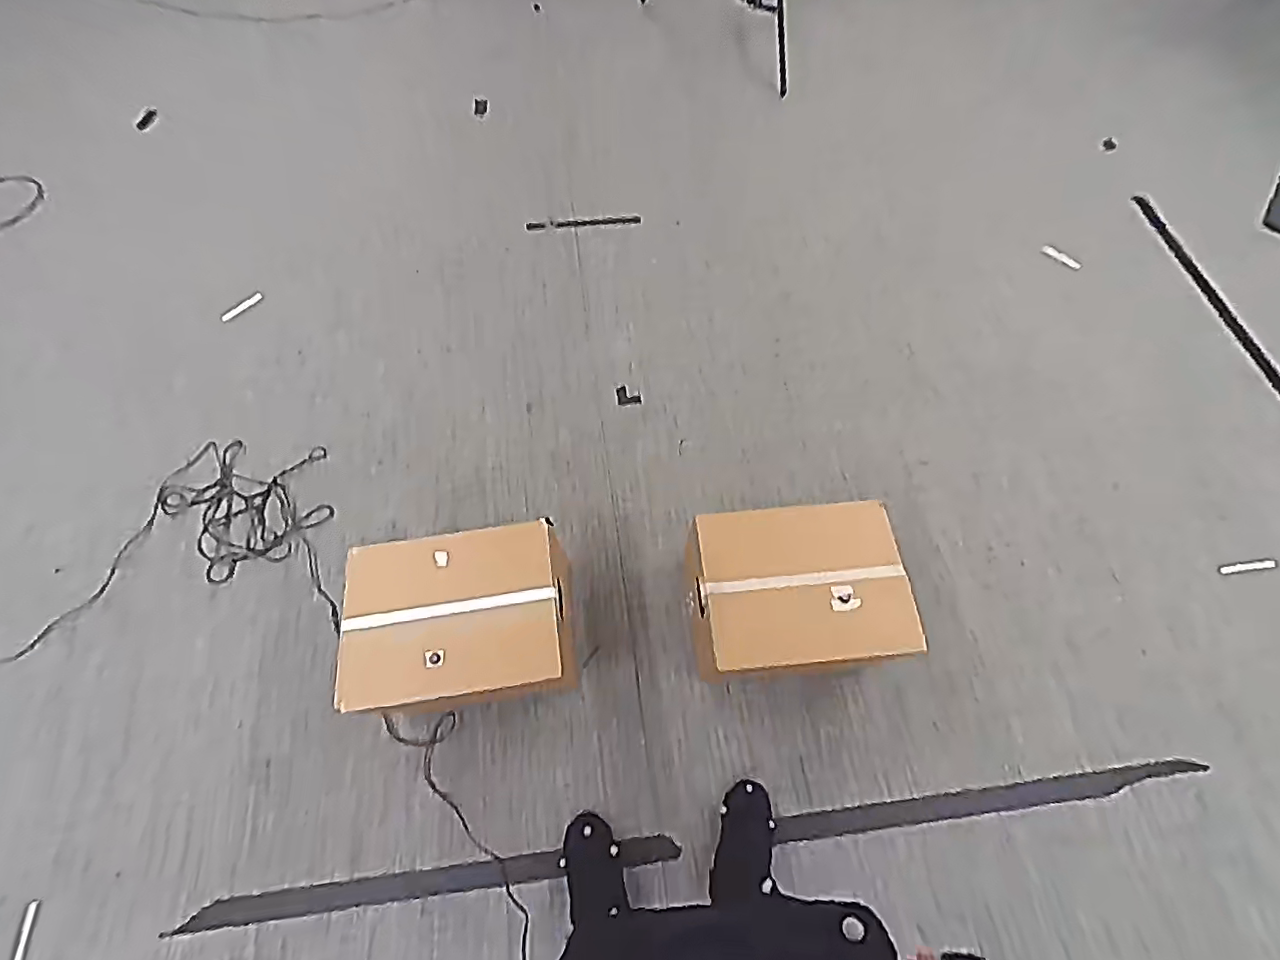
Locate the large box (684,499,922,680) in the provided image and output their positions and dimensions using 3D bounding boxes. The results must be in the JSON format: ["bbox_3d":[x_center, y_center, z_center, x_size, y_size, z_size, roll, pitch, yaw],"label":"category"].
[{"bbox_3d":[0.328,0.258,1.219,0.408,0.320,0.320,-4,66,-3],"label":"large box"}]
